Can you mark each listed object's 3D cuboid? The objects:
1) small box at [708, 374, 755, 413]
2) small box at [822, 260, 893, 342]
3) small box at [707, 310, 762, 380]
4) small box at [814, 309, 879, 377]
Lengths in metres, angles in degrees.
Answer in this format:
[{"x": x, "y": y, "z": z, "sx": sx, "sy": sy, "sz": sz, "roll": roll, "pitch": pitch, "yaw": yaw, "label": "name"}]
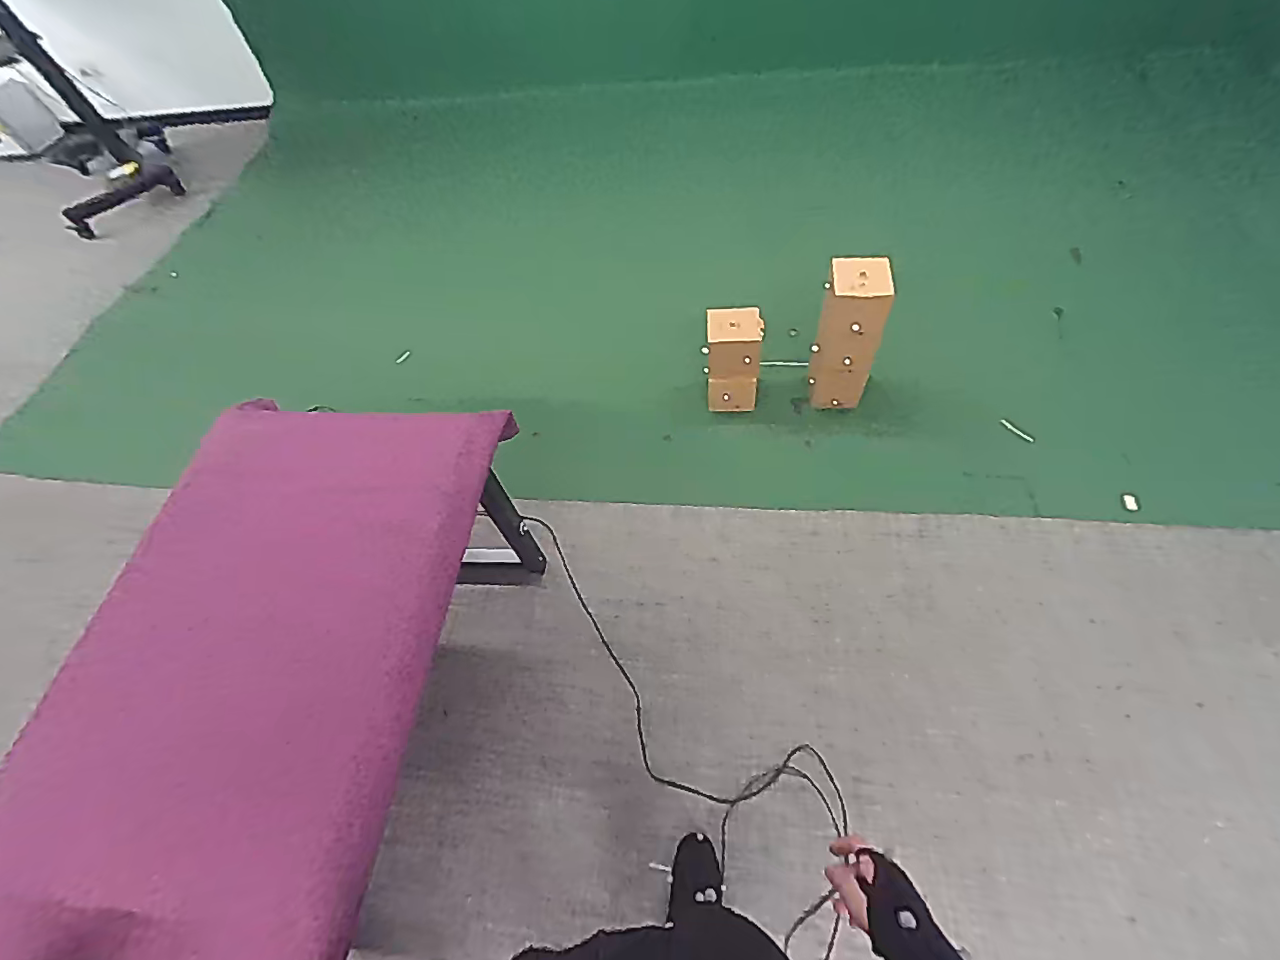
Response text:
[{"x": 0.334, "y": -0.358, "z": 1.982, "sx": 0.168, "sy": 0.176, "sz": 0.179, "roll": -1, "pitch": 56, "yaw": 7, "label": "small box"}, {"x": 0.664, "y": -0.553, "z": 1.671, "sx": 0.168, "sy": 0.176, "sz": 0.179, "roll": 3, "pitch": 59, "yaw": 9, "label": "small box"}, {"x": 0.318, "y": -0.460, "z": 1.856, "sx": 0.179, "sy": 0.176, "sz": 0.168, "roll": -1, "pitch": 56, "yaw": 8, "label": "small box"}, {"x": 0.684, "y": -0.463, "z": 1.807, "sx": 0.168, "sy": 0.176, "sz": 0.179, "roll": 3, "pitch": 59, "yaw": 8, "label": "small box"}]
